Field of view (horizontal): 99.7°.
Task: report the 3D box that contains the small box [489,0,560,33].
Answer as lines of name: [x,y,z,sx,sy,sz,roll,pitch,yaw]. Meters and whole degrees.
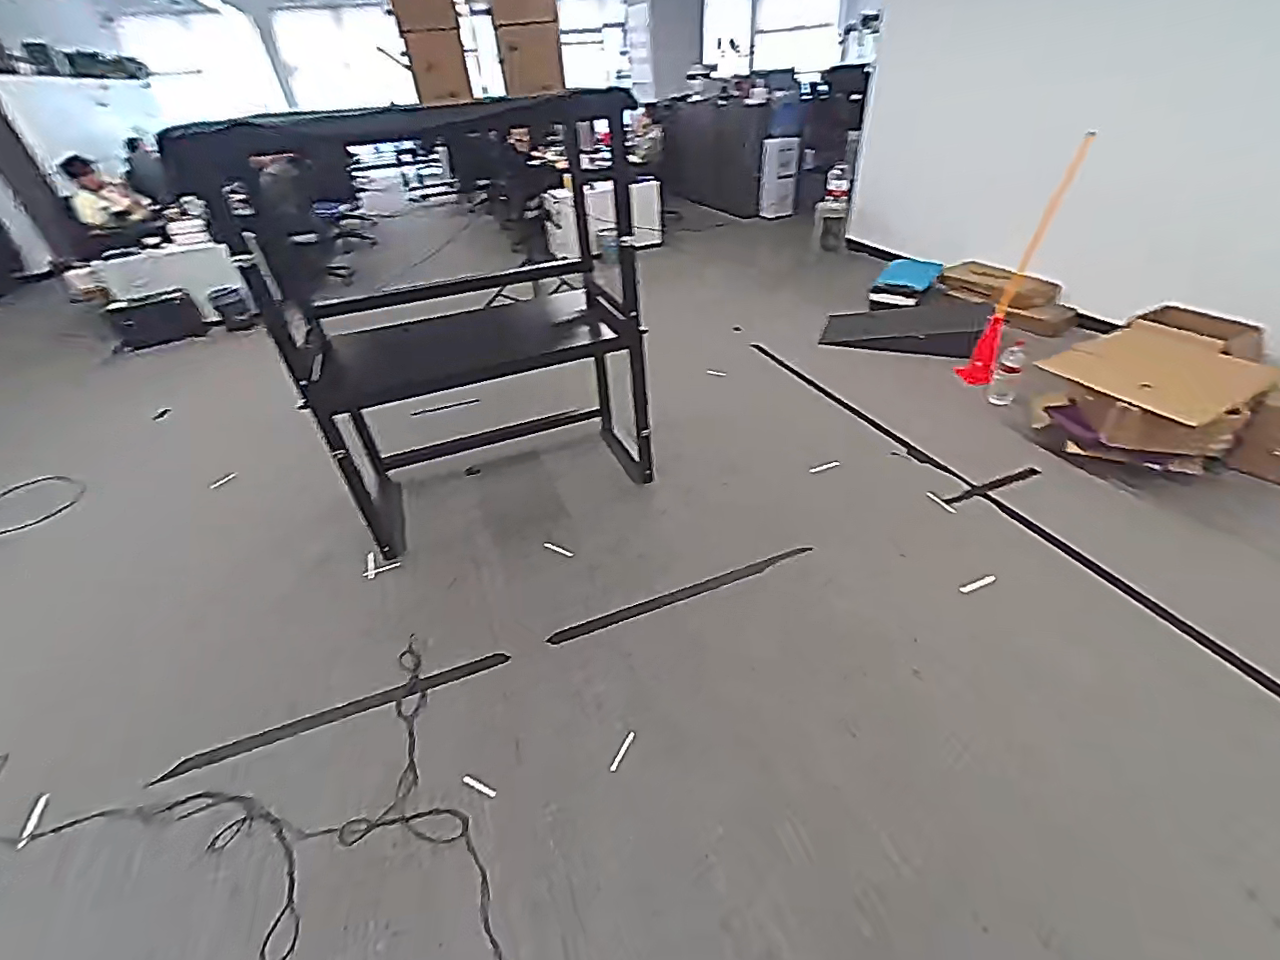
small box: [-0.327,-1.357,1.496,0.179,0.176,0.168,-17,36,-13]

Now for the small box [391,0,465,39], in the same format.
small box: [-0.575,-1.293,1.442,0.179,0.176,0.168,-16,36,-11]

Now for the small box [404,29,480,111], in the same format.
small box: [-0.563,-1.167,1.547,0.168,0.176,0.179,-15,37,-12]
